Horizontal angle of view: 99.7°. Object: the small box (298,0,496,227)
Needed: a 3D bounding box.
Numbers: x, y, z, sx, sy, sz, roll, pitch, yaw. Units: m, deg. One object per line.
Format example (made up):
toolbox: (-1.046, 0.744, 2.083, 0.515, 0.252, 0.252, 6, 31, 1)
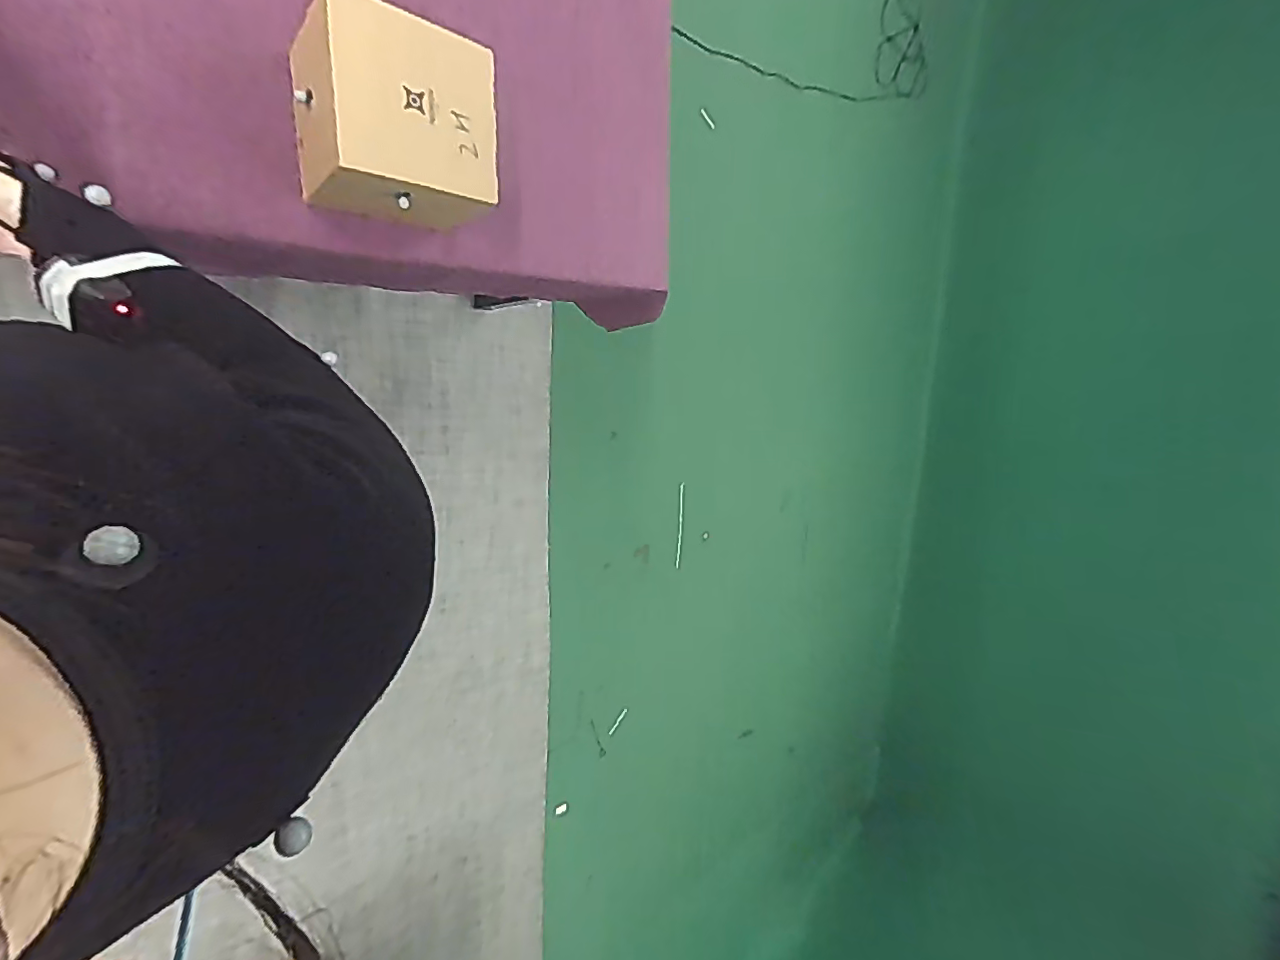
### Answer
small box: (-0.290, -0.414, 0.641, 0.179, 0.176, 0.168, -8, 105, -42)
